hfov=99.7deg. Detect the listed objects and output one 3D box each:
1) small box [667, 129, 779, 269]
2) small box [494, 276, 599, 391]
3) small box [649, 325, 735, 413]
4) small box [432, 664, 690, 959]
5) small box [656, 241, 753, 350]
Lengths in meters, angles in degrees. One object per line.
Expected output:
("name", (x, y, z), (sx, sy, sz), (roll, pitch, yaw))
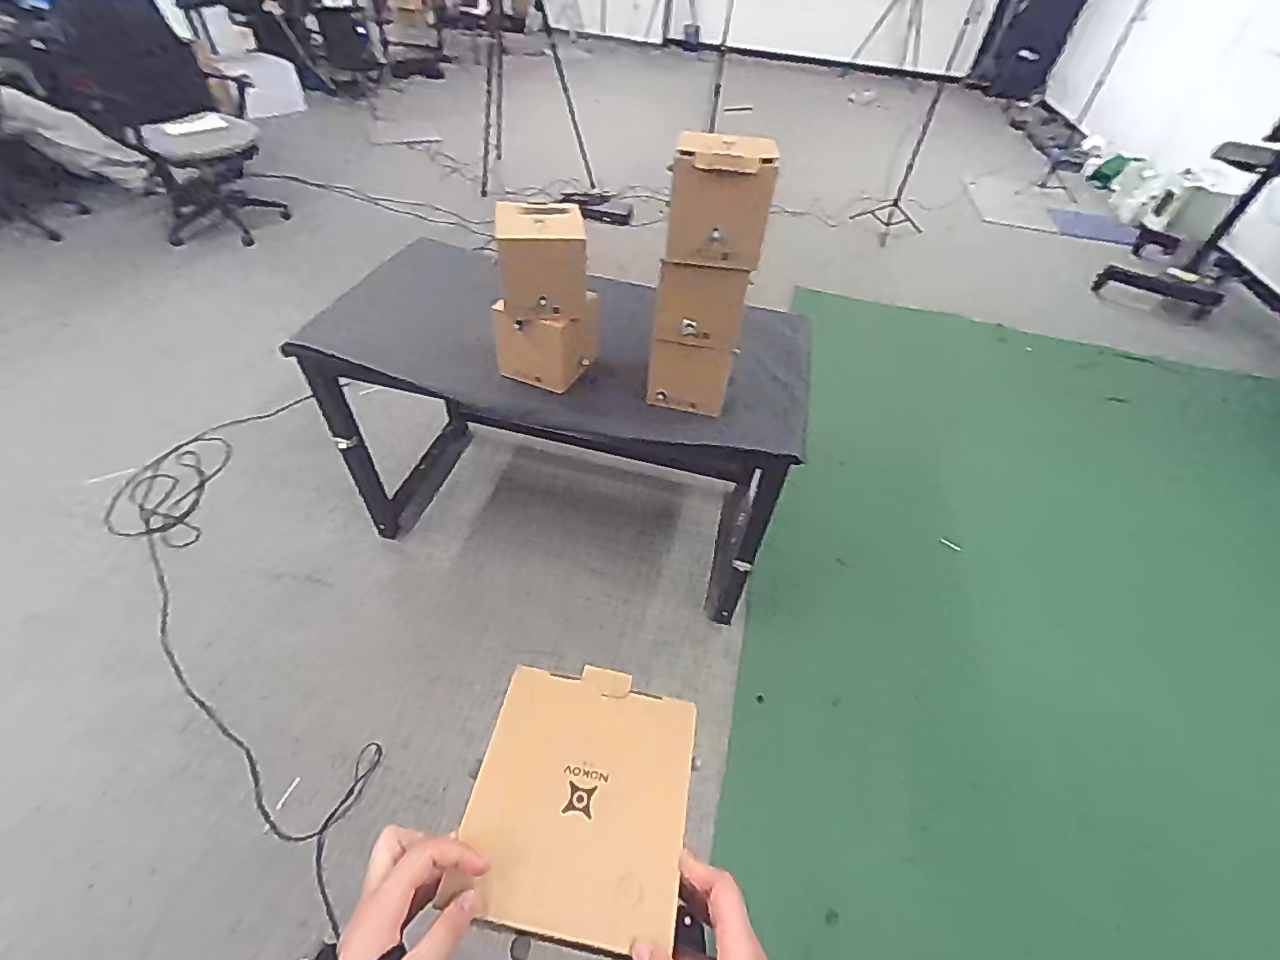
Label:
("small box", (0.139, -0.492, 0.946), (0.168, 0.176, 0.179), (7, 44, 3))
("small box", (-0.205, -0.328, 1.212), (0.168, 0.176, 0.179), (19, 46, 13))
("small box", (0.118, -0.270, 1.186), (0.168, 0.176, 0.179), (13, 44, 7))
("small box", (-0.056, 0.293, 0.476), (0.168, 0.176, 0.179), (11, 46, 2))
("small box", (0.128, -0.382, 1.069), (0.168, 0.176, 0.179), (9, 46, 5))
